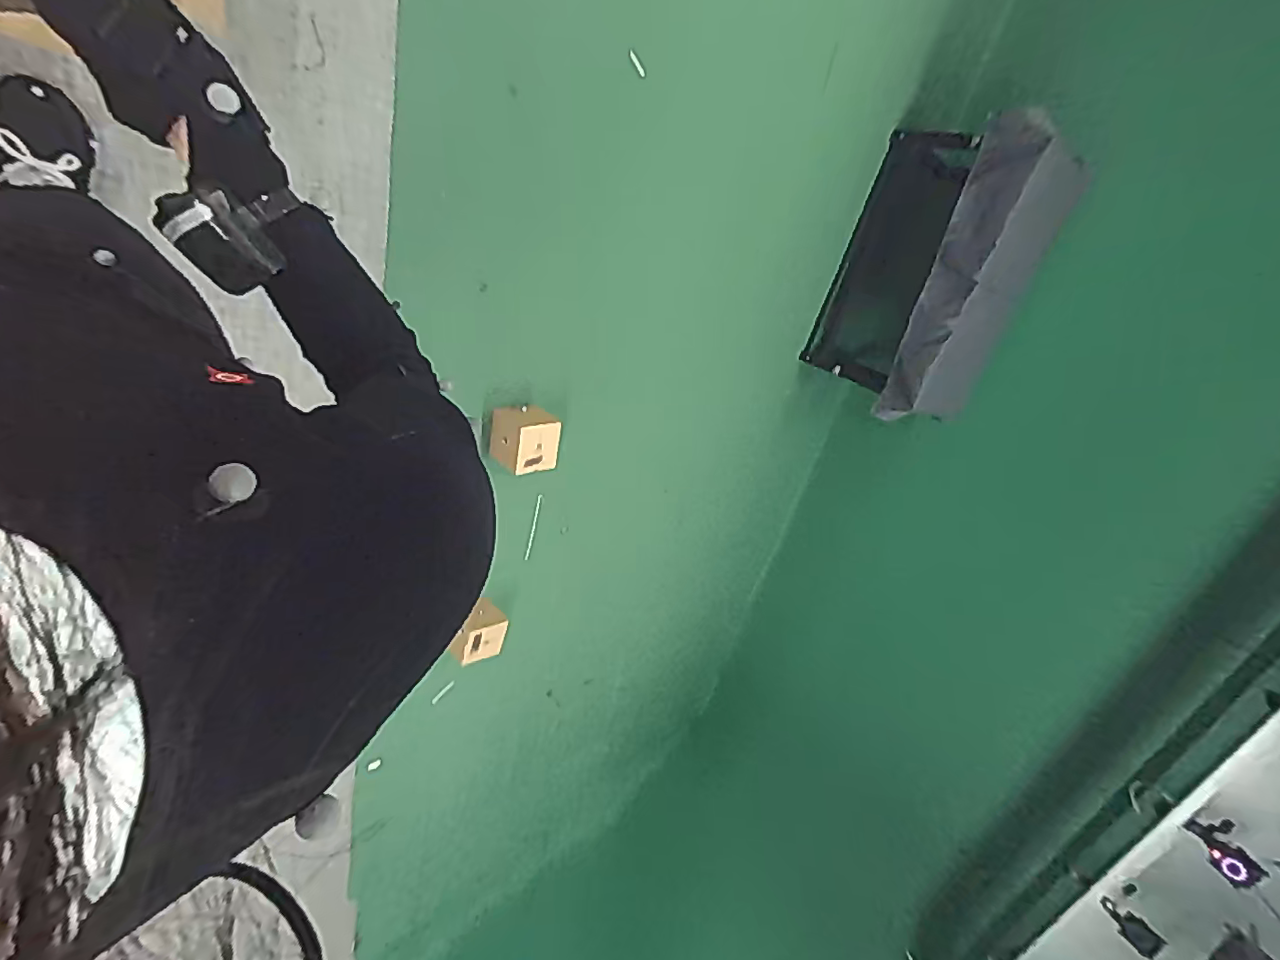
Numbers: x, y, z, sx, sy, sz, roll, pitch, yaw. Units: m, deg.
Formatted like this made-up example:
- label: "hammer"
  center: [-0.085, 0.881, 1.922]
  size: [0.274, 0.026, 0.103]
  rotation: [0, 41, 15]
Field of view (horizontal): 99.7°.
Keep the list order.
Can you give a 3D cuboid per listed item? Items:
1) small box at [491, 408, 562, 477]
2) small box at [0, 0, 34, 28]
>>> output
- label: "small box"
  center: [-0.393, -0.133, 1.850]
  size: [0.168, 0.176, 0.179]
  rotation: [-15, 126, -44]
- label: "small box"
  center: [-0.417, -0.319, 0.223]
  size: [0.168, 0.176, 0.179]
  rotation: [-22, 128, -30]
